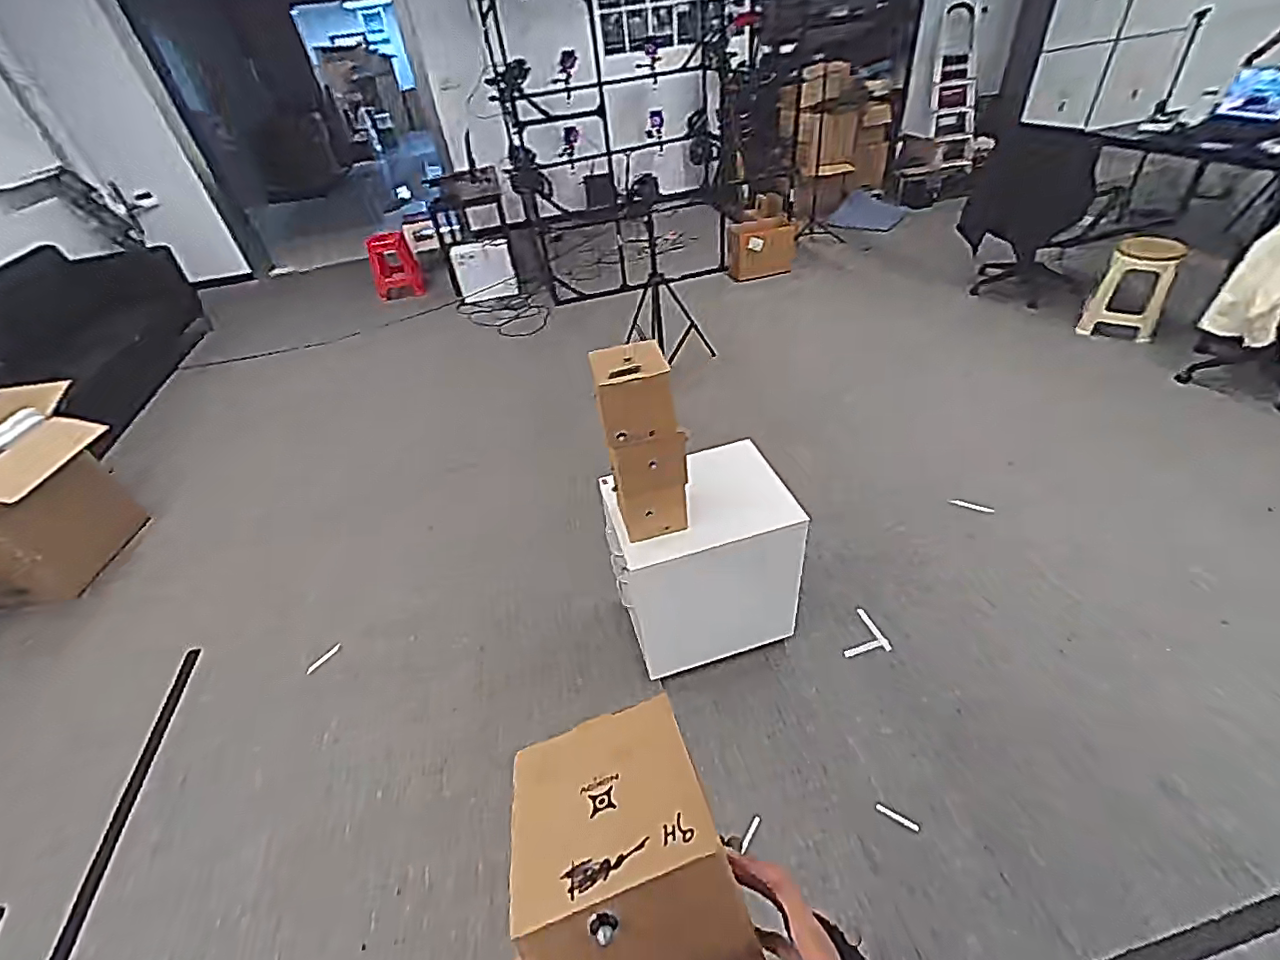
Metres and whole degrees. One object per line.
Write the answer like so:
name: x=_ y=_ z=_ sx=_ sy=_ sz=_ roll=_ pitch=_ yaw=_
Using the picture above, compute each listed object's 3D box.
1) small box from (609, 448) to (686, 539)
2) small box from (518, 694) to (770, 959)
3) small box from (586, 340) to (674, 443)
small box: x=0.022 y=0.043 z=1.479 sx=0.168 sy=0.176 sz=0.179 roll=-14 pitch=40 yaw=-7
small box: x=-0.002 y=0.342 z=0.495 sx=0.168 sy=0.176 sz=0.179 roll=-20 pitch=20 yaw=-4
small box: x=-0.021 y=-0.200 z=1.261 sx=0.168 sy=0.176 sz=0.179 roll=-13 pitch=39 yaw=-5
